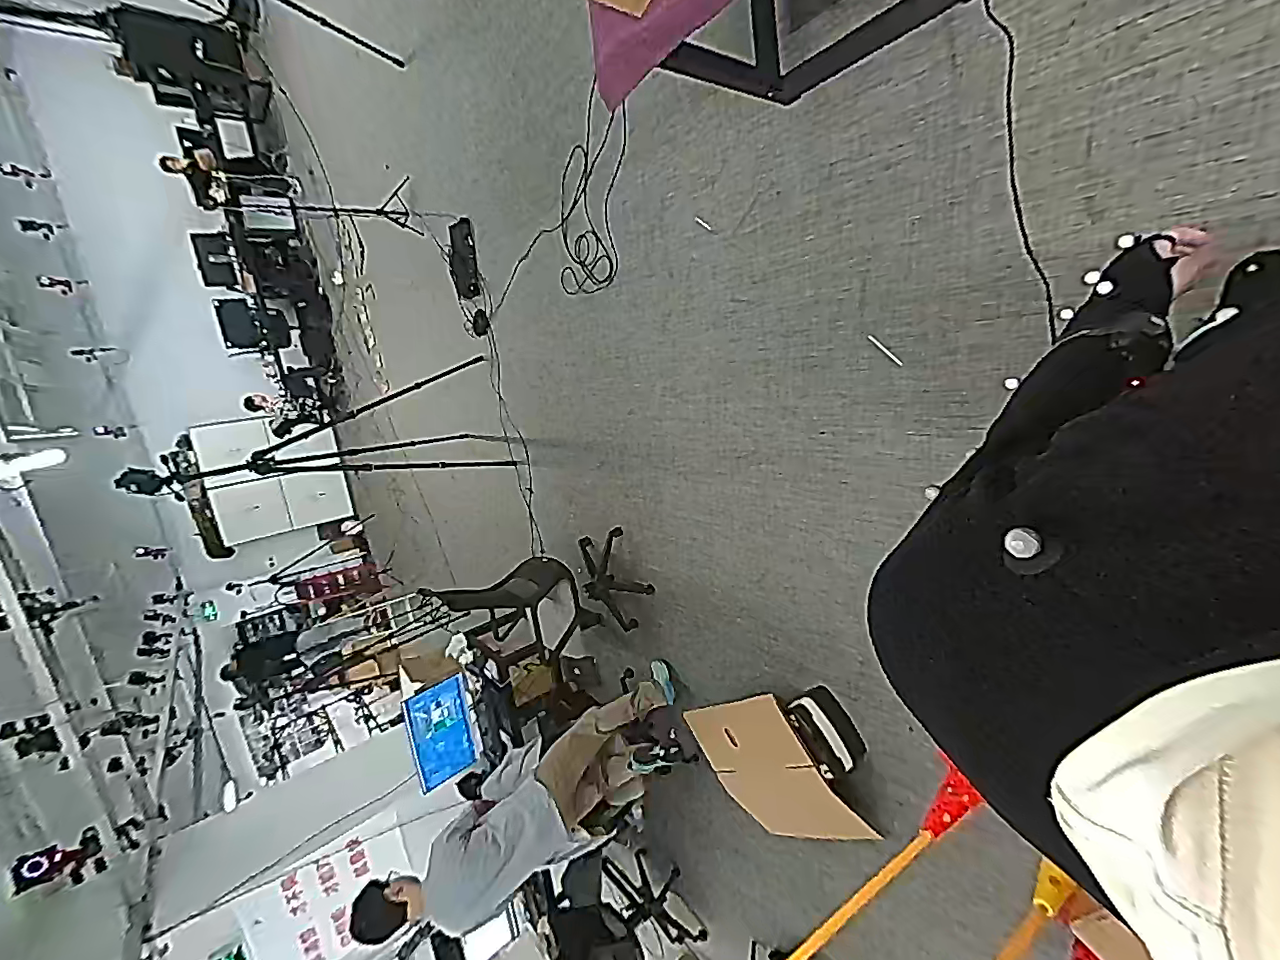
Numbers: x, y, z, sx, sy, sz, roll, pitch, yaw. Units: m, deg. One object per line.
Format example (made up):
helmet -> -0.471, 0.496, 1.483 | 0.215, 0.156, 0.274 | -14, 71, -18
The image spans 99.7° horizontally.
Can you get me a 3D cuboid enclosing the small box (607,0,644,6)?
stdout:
small box -> -0.039, -1.078, 1.051 | 0.168, 0.176, 0.179 | -17, 90, 52
